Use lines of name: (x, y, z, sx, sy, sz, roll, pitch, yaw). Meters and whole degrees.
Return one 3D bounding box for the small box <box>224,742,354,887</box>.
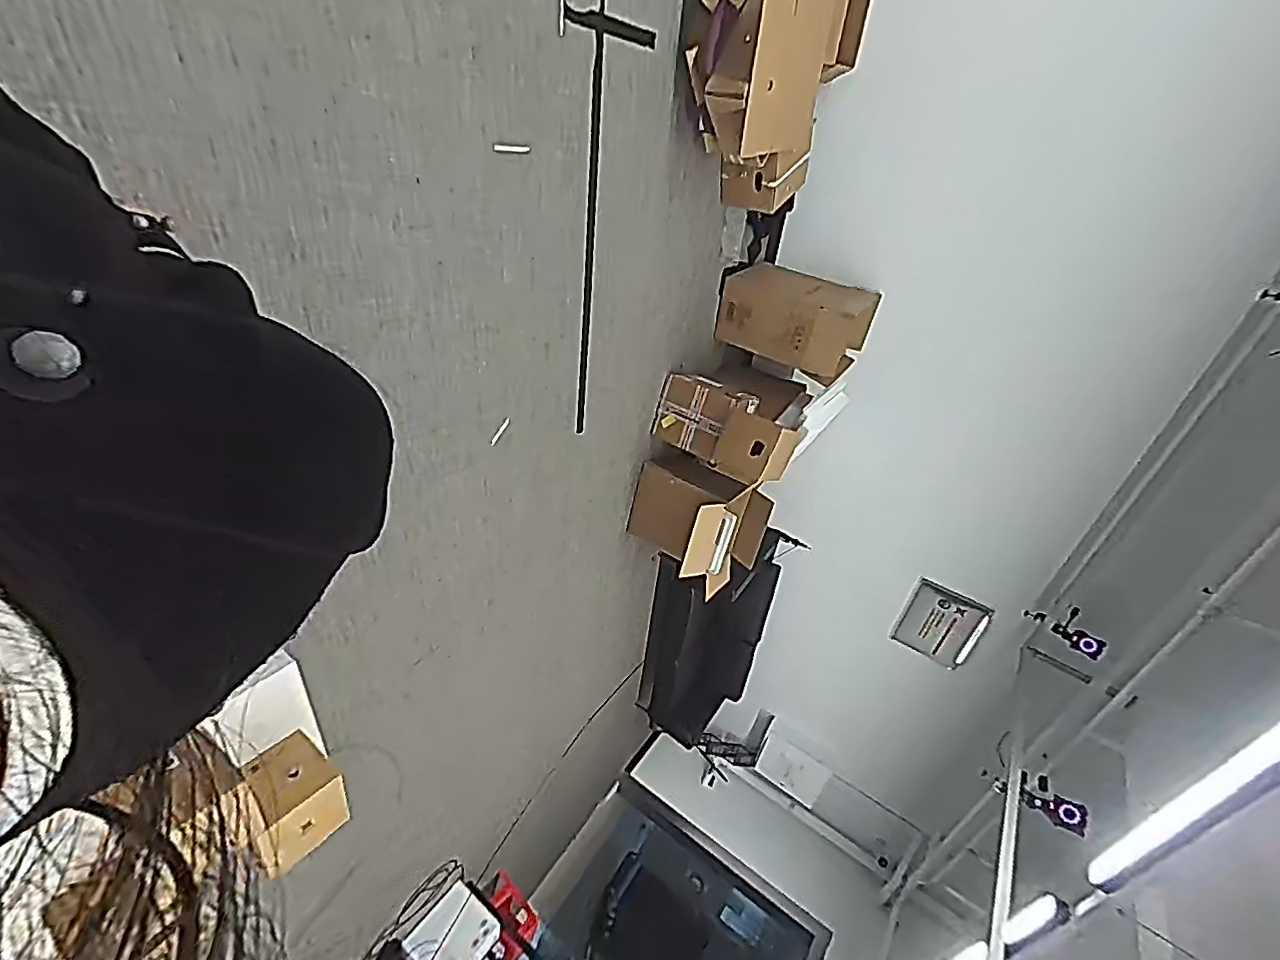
small box: (-0.741, 0.694, 1.146, 0.168, 0.176, 0.179, -31, 139, -49)
